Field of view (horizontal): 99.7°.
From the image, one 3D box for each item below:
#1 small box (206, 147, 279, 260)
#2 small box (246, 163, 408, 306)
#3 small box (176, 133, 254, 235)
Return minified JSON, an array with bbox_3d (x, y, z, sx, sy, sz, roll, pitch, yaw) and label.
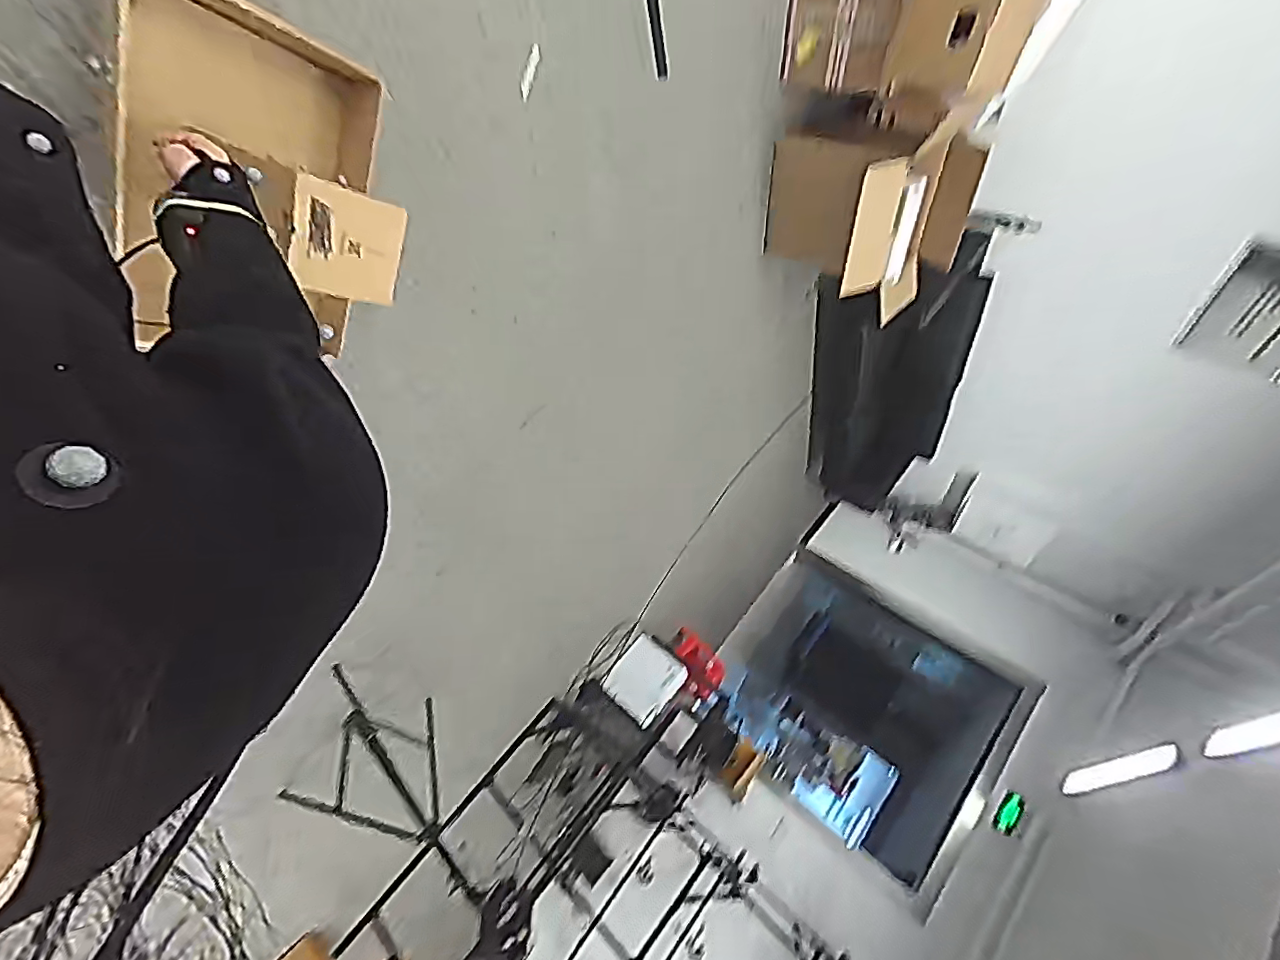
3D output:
[{"bbox_3d":[-0.656,-0.485,0.992,0.179,0.176,0.168,-3,118,-54],"label":"small box"},{"bbox_3d":[-0.531,-0.413,0.913,0.179,0.176,0.168,-6,121,-55],"label":"small box"},{"bbox_3d":[-0.776,-0.559,1.072,0.179,0.176,0.168,-1,117,-55],"label":"small box"}]
